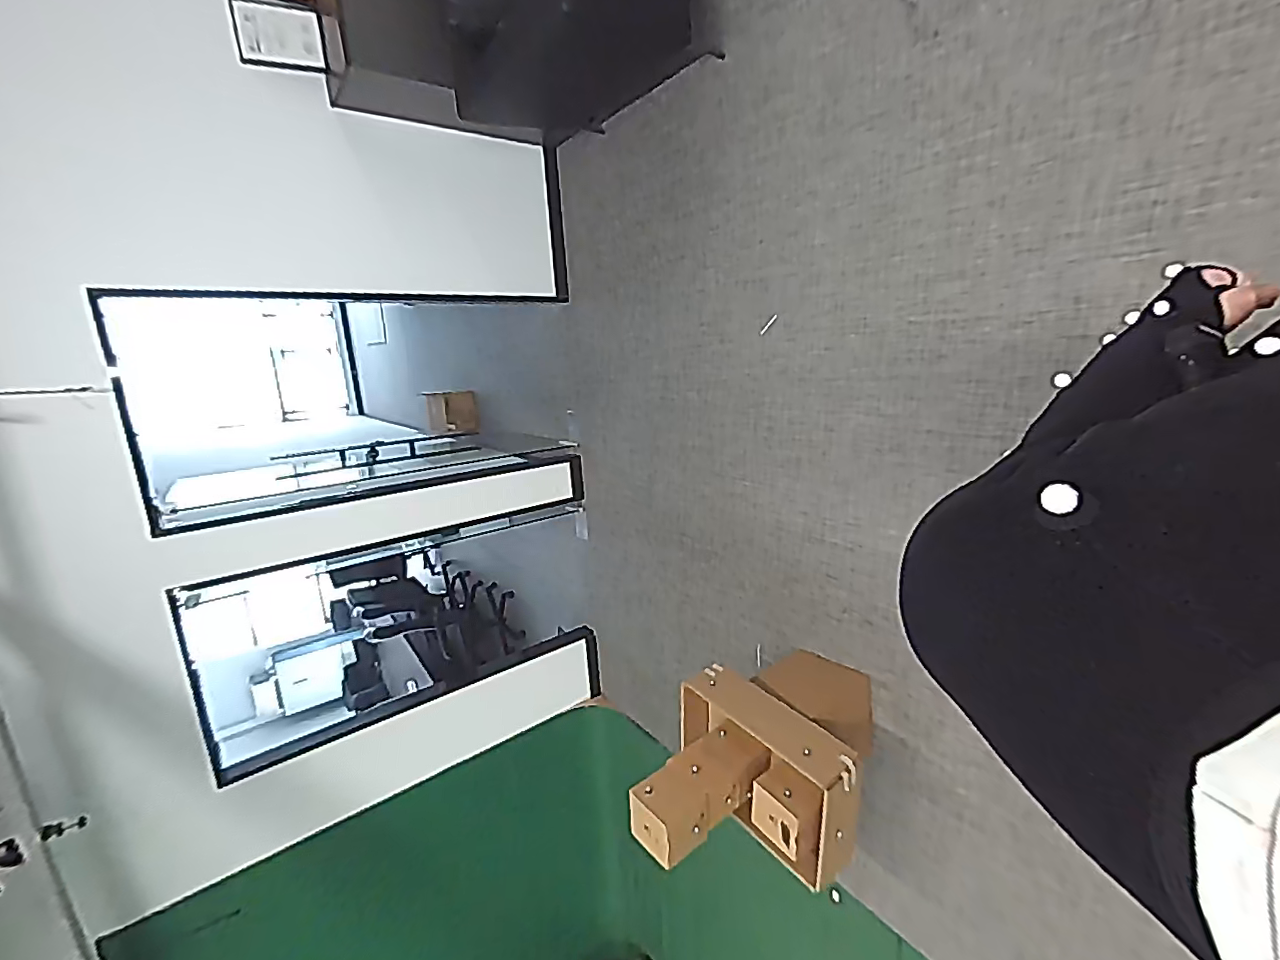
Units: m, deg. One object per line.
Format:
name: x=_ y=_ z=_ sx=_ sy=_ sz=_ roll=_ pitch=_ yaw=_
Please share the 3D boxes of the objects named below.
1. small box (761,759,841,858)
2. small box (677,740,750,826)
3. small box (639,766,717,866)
small box: x=0.504 y=1.014 z=1.689 sx=0.179 sy=0.176 sz=0.168 roll=21 pitch=117 yaw=52
small box: x=0.238 y=0.991 z=1.780 sx=0.179 sy=0.176 sz=0.168 roll=17 pitch=114 yaw=49
small box: x=0.117 y=1.024 z=1.671 sx=0.179 sy=0.176 sz=0.168 roll=14 pitch=112 yaw=49
